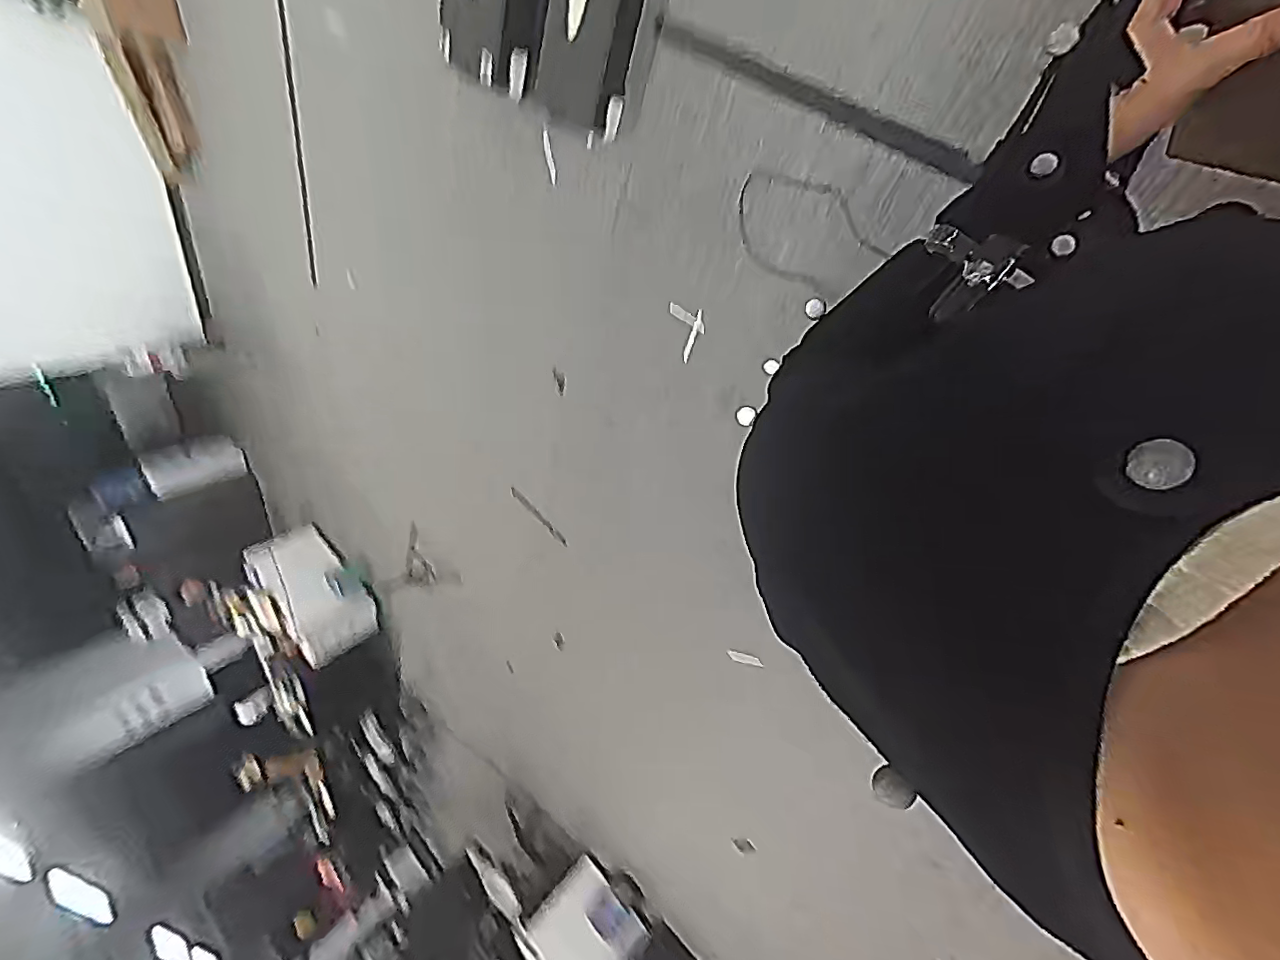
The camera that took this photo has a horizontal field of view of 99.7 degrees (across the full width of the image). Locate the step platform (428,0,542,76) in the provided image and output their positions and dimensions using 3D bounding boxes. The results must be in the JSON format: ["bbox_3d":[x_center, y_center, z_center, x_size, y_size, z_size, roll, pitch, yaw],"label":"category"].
[{"bbox_3d":[-0.350,-1.466,1.372,0.286,0.204,0.684,45,134,15],"label":"step platform"}]
